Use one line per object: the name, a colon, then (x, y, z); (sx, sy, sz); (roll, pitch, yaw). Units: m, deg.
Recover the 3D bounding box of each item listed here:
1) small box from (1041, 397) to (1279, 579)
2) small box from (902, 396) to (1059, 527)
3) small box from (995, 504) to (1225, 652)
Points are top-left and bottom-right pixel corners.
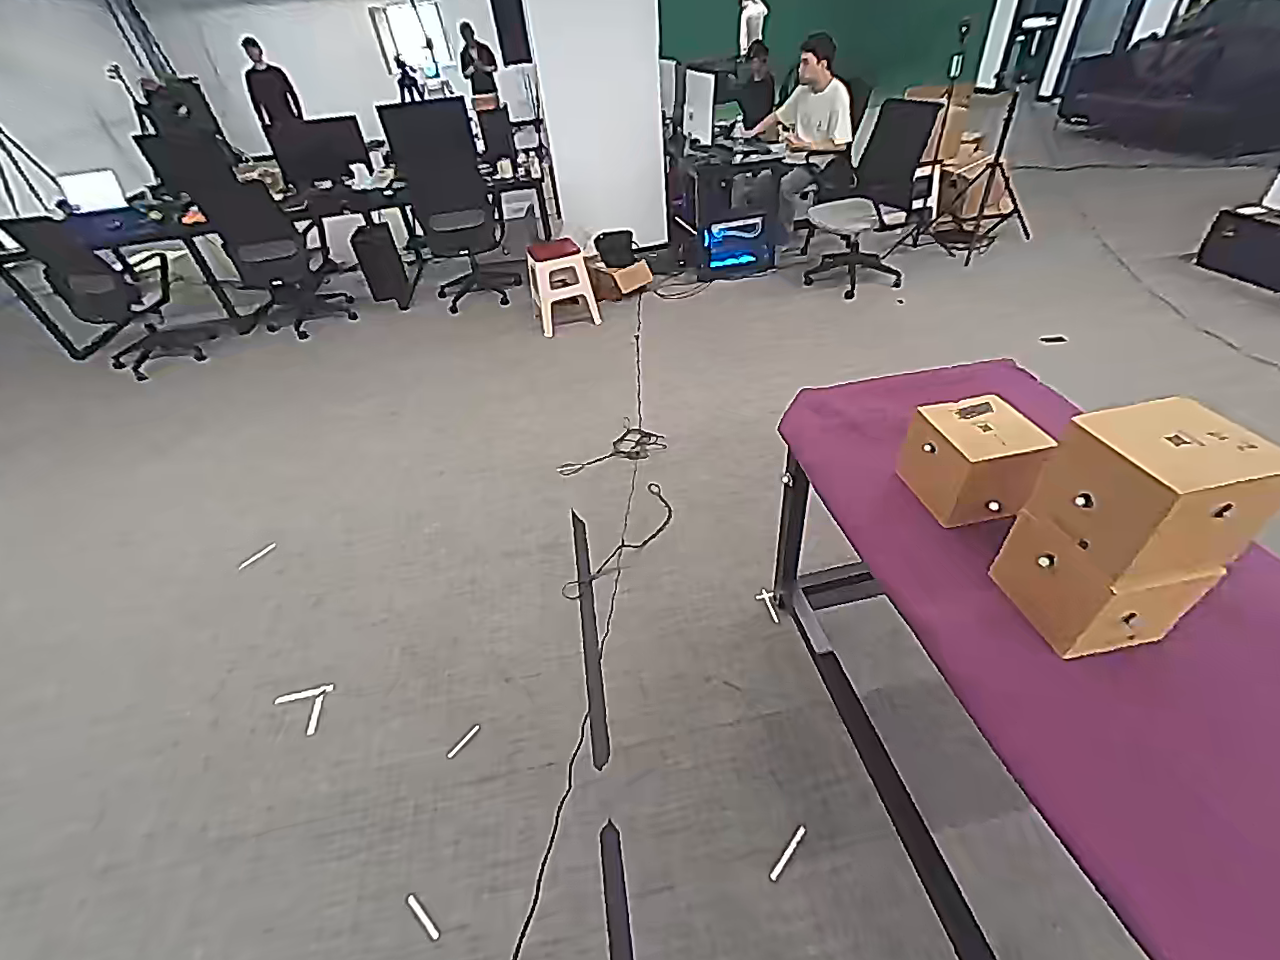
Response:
small box: (0.687, 0.013, 0.728); (0.179, 0.176, 0.168); (-10, 40, -4)
small box: (0.638, -0.036, 1.043); (0.168, 0.176, 0.179); (-11, 41, -4)
small box: (0.696, 0.143, 0.828); (0.168, 0.176, 0.179); (-10, 40, -4)
